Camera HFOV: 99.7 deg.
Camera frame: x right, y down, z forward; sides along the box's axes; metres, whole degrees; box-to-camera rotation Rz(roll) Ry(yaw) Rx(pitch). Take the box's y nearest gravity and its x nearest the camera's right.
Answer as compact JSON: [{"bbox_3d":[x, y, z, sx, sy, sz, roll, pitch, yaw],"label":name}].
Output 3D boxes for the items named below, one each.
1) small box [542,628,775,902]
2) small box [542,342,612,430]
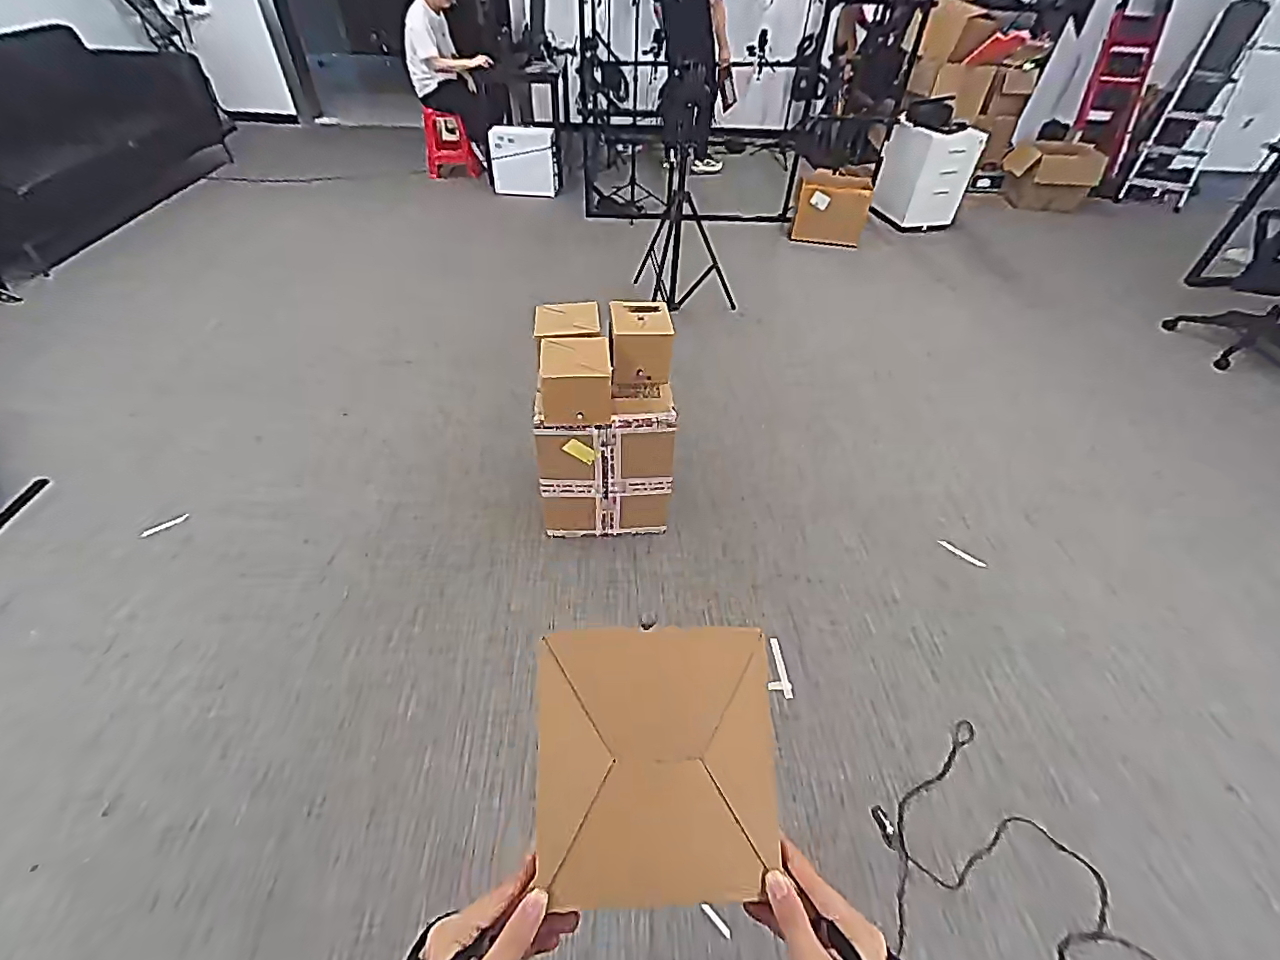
[{"bbox_3d":[0.008,0.220,0.460,0.168,0.176,0.179,0,76,-4],"label":"small box"},{"bbox_3d":[-0.166,-0.251,1.432,0.179,0.176,0.168,-3,48,-5],"label":"small box"}]
